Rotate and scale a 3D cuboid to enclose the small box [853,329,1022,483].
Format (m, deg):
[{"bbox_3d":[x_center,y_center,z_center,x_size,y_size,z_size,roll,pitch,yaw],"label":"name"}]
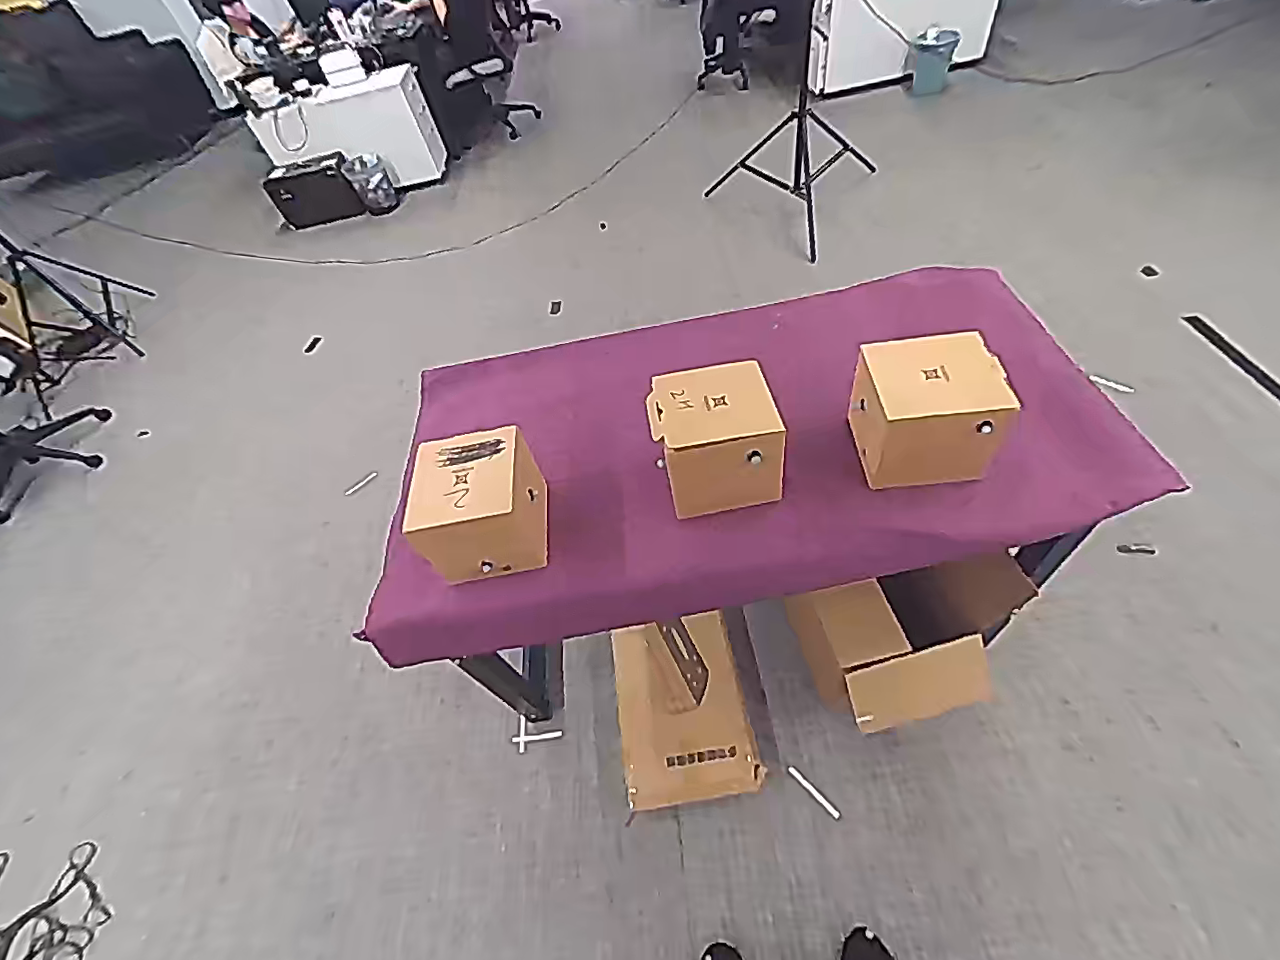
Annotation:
[{"bbox_3d":[0.442,-0.109,0.845,0.179,0.176,0.168,-5,52,7],"label":"small box"}]

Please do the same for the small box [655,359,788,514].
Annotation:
[{"bbox_3d":[0.128,-0.066,0.877,0.179,0.176,0.168,-11,49,3],"label":"small box"}]
